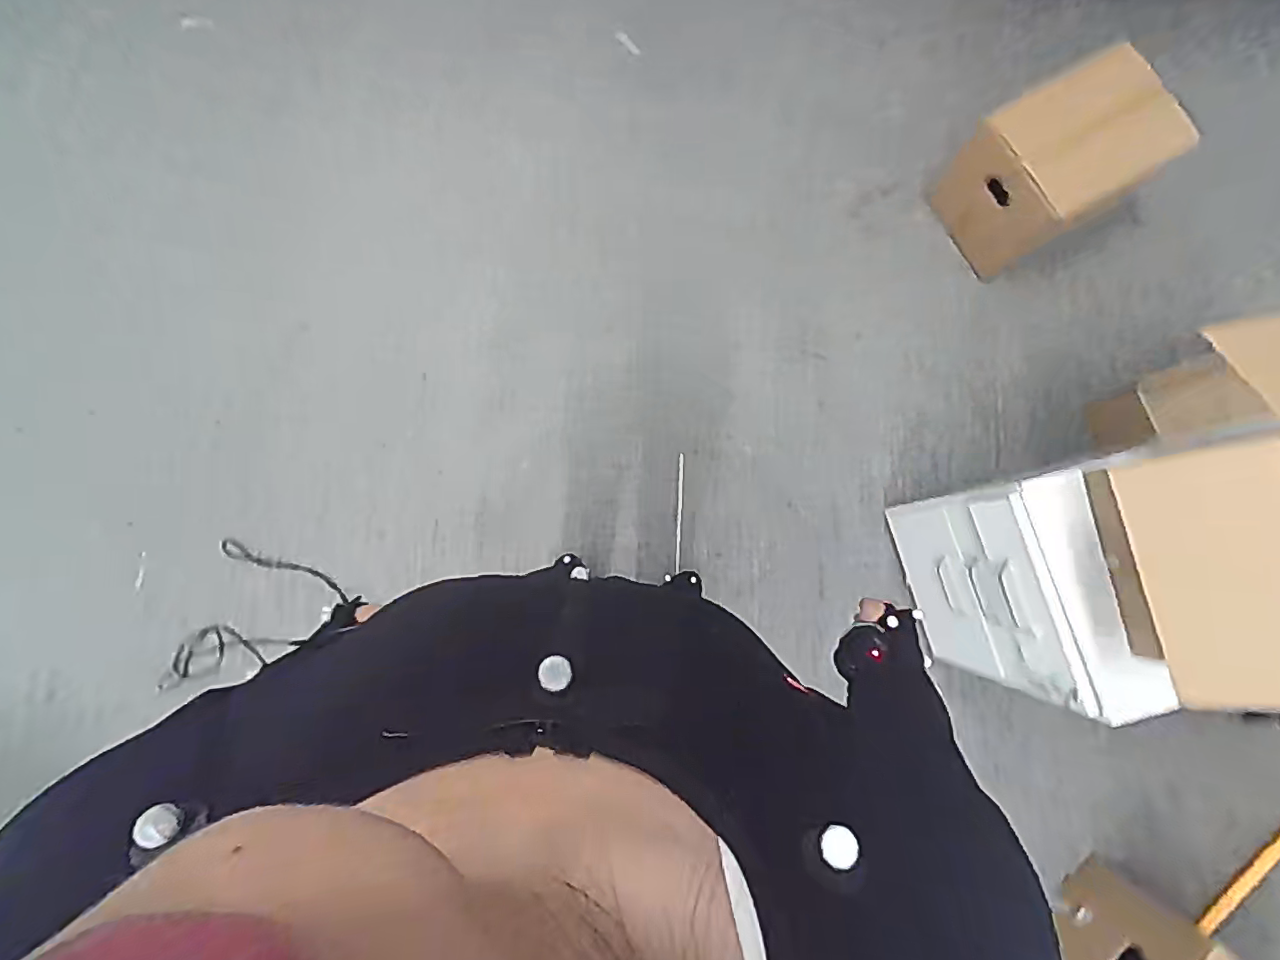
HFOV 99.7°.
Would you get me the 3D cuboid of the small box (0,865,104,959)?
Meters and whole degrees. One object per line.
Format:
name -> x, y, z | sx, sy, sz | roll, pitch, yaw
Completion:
small box -> -1.481, 1.098, 1.317 | 0.168, 0.176, 0.179 | 36, 85, 5
